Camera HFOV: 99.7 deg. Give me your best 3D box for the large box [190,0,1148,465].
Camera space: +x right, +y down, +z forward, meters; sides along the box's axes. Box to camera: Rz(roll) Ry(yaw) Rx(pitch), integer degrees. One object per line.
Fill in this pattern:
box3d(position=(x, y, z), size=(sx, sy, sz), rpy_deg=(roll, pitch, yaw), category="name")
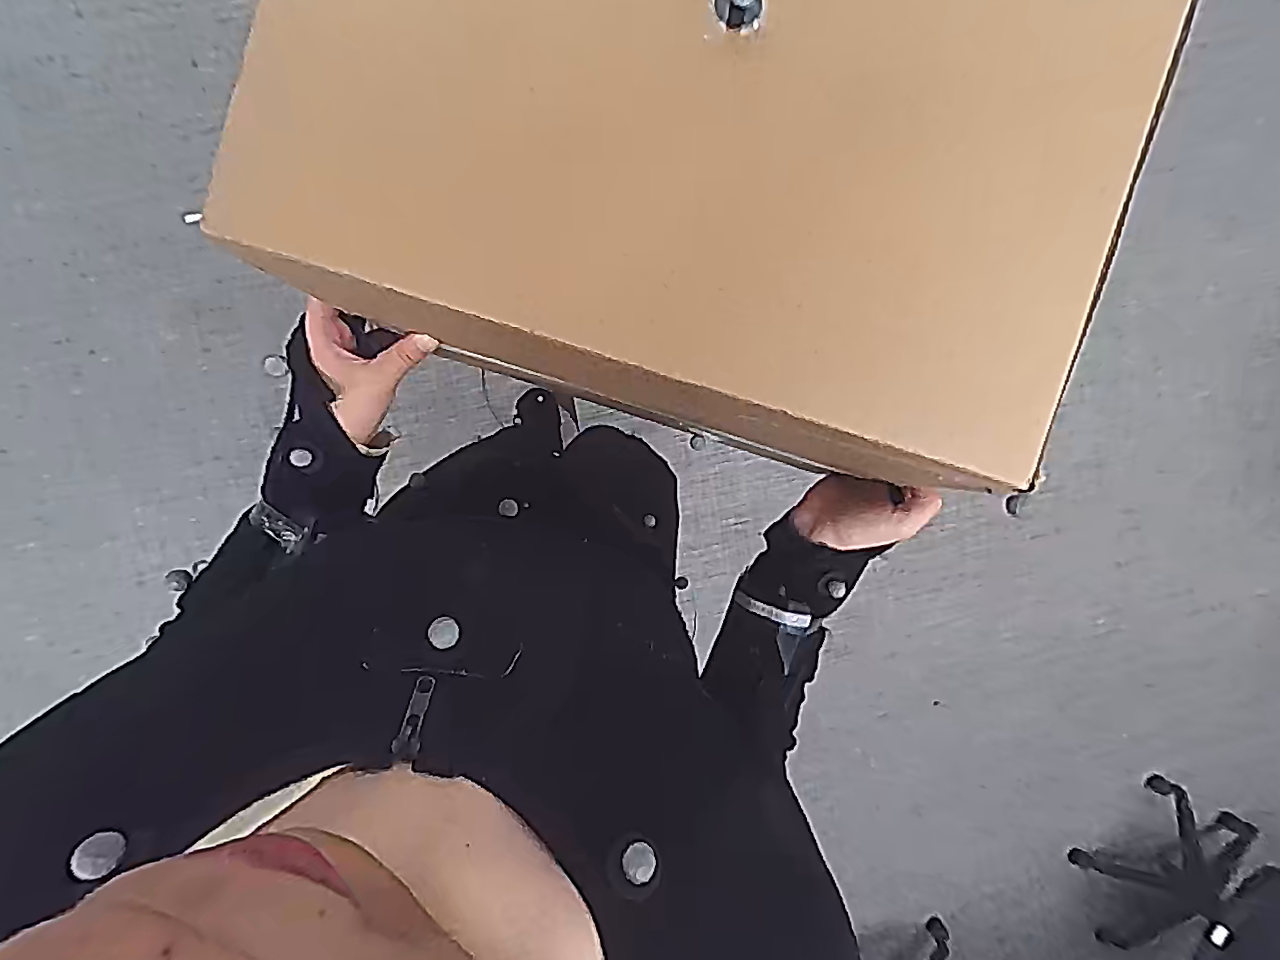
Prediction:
box3d(position=(0.020, -0.216, 0.387), size=(0.408, 0.320, 0.320), rpy_deg=(15, 94, -2), category="large box")
